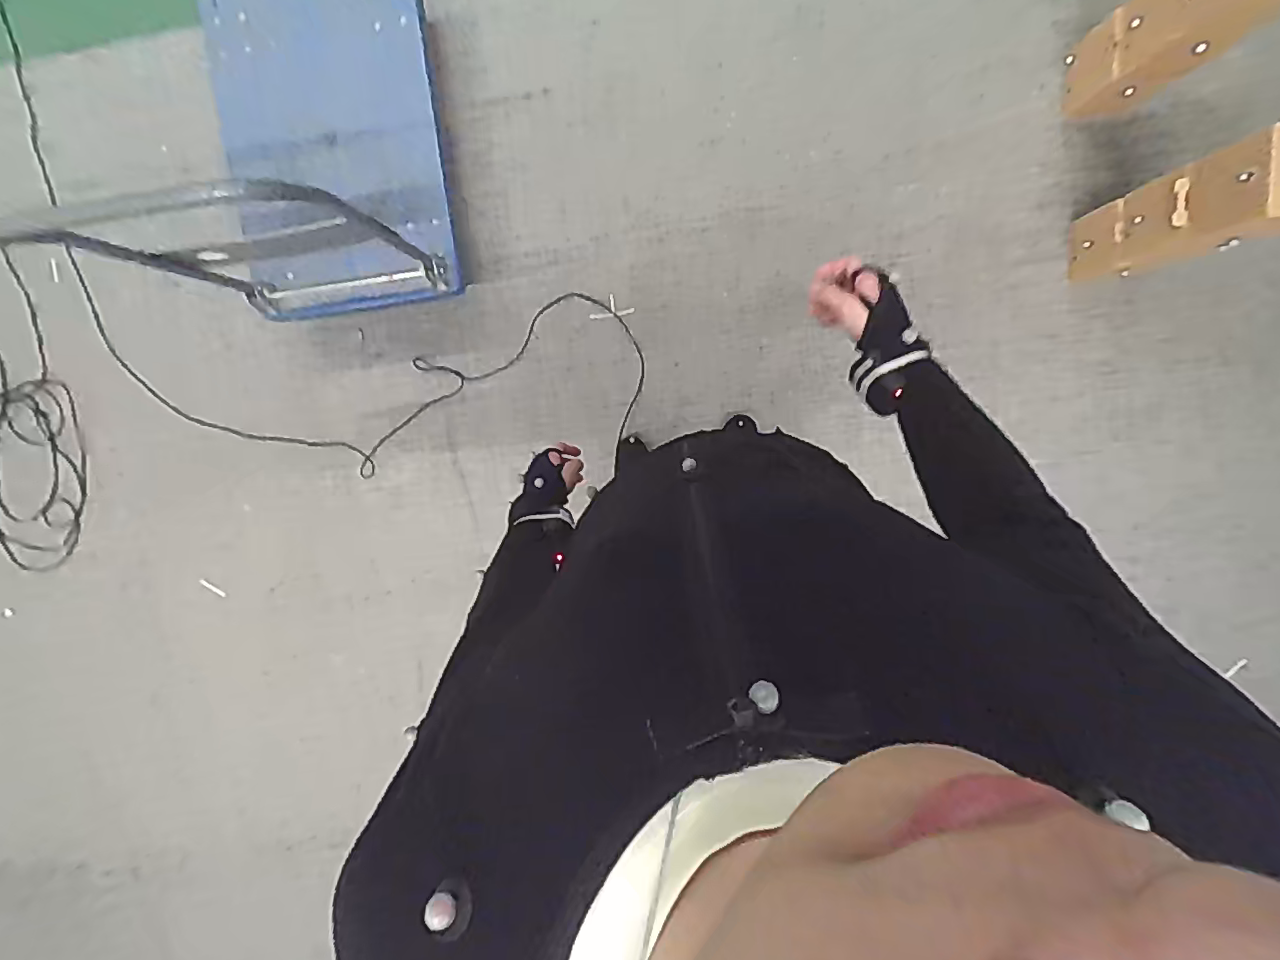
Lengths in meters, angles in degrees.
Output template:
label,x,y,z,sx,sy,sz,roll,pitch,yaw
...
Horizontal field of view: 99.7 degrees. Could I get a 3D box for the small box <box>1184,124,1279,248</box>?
label,x,y,z,sx,sy,sz,roll,pitch,yaw
small box,1.277,-0.594,1.106,0.168,0.176,0.179,0,95,3

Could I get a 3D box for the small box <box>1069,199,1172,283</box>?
label,x,y,z,sx,sy,sz,roll,pitch,yaw
small box,1.281,-0.631,1.432,0.179,0.176,0.168,-4,96,4

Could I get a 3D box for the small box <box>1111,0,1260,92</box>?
label,x,y,z,sx,sy,sz,roll,pitch,yaw
small box,1.250,-1.053,1.238,0.168,0.176,0.179,30,95,1

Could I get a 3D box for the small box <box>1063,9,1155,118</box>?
label,x,y,z,sx,sy,sz,roll,pitch,yaw
small box,1.238,-1.064,1.393,0.179,0.176,0.168,-2,96,2

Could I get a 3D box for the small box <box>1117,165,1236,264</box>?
label,x,y,z,sx,sy,sz,roll,pitch,yaw
small box,1.284,-0.616,1.268,0.179,0.176,0.168,0,95,2
